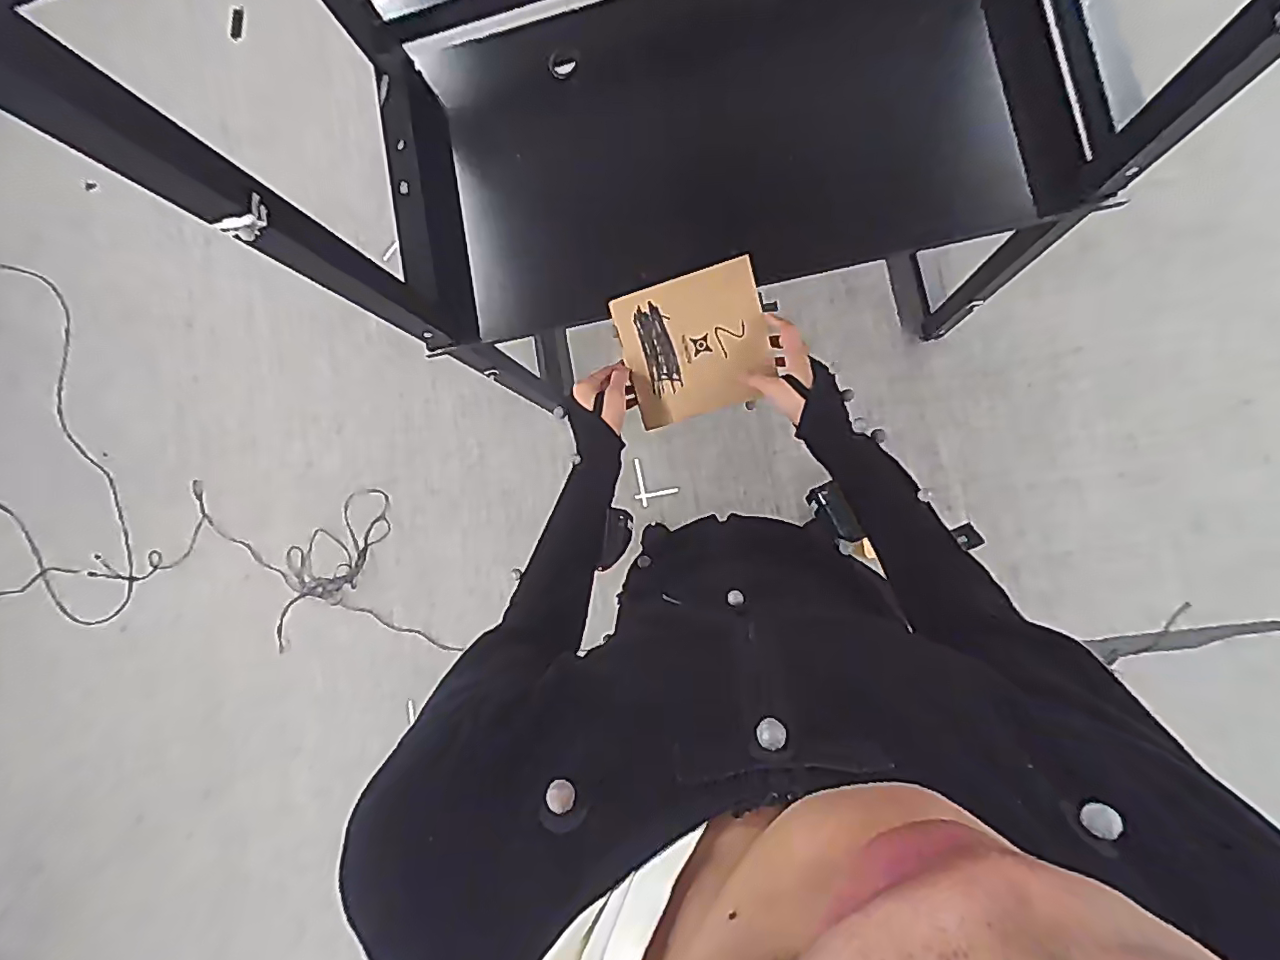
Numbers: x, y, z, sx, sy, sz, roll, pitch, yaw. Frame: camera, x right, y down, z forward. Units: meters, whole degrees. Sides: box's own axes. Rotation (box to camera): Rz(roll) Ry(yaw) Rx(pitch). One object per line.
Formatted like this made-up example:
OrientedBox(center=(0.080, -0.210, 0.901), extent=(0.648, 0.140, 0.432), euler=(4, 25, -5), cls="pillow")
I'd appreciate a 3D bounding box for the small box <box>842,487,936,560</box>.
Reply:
OrientedBox(center=(0.672, 0.117, 1.479), extent=(0.179, 0.176, 0.168), euler=(-12, 84, 9), cls="small box")
